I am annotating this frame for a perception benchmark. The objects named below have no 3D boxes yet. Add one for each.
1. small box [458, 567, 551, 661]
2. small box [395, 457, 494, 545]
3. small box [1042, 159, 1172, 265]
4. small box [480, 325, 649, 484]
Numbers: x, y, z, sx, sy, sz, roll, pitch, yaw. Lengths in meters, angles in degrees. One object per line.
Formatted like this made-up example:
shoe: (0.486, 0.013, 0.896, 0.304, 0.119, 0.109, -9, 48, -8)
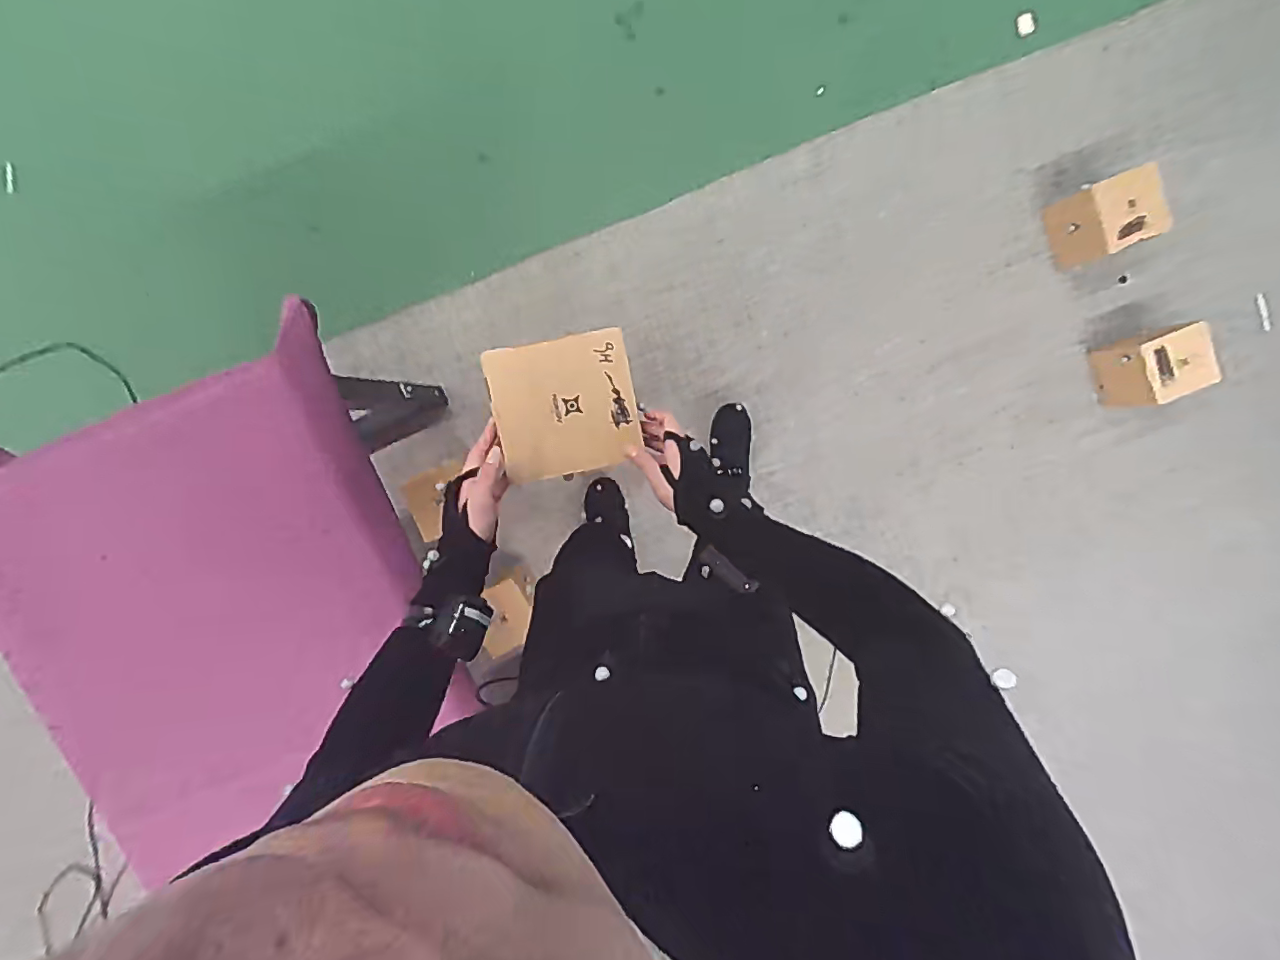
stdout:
small box: (-0.366, 0.358, 1.493, 0.168, 0.176, 0.179, -29, 98, 3)
small box: (-0.514, 0.049, 1.450, 0.168, 0.176, 0.179, -22, 96, 2)
small box: (1.190, -0.675, 1.389, 0.168, 0.176, 0.179, -22, 96, 1)
small box: (-0.095, -0.095, 0.716, 0.179, 0.176, 0.168, -12, 97, -5)
